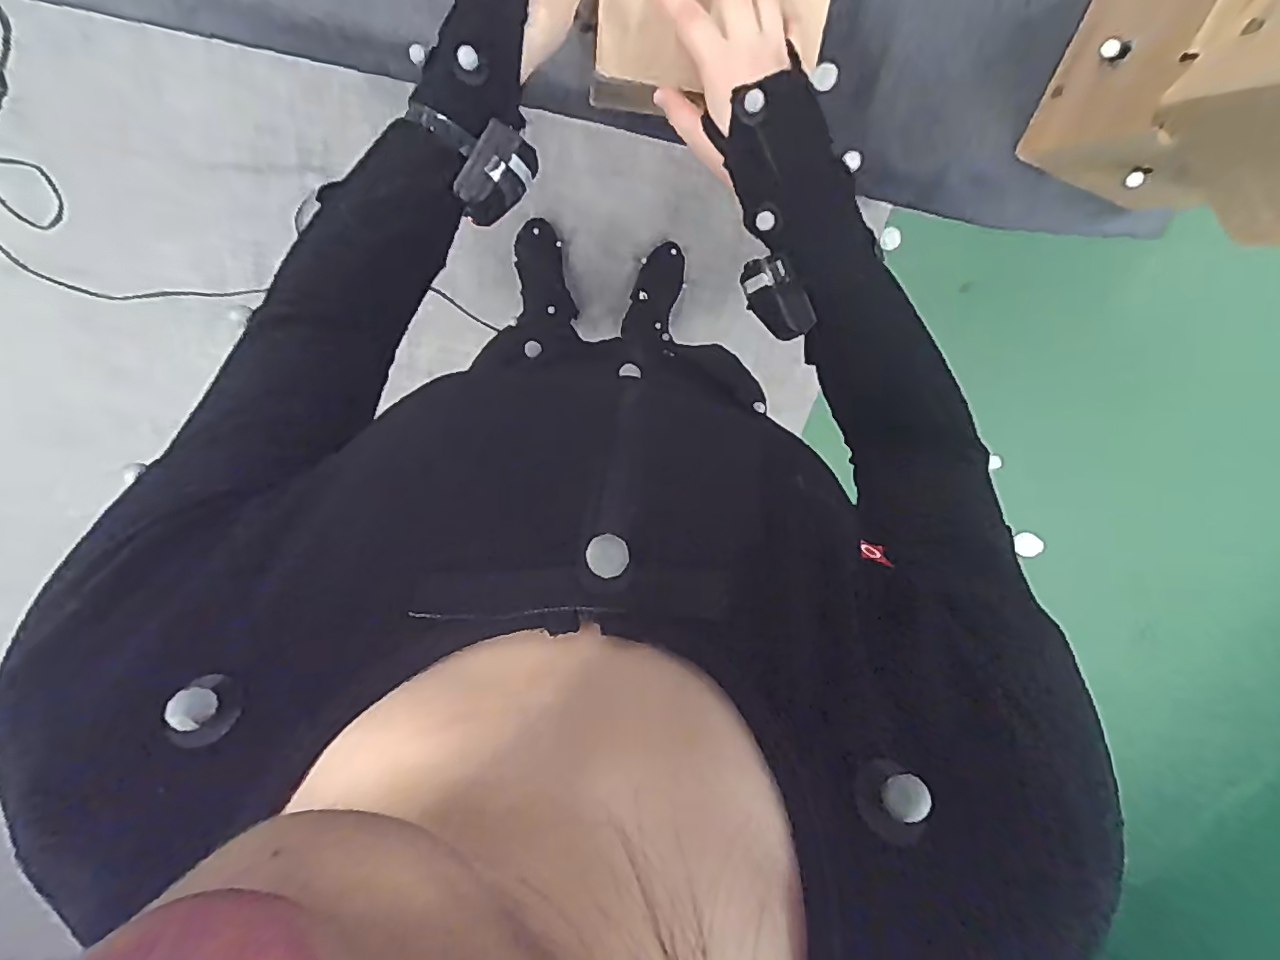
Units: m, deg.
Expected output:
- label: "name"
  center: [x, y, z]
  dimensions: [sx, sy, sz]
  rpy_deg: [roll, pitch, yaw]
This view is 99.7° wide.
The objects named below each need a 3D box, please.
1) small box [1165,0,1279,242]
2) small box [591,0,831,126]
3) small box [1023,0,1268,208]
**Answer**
- label: "small box"
  center: [0.549, -0.286, 0.386]
  dimensions: [0.179, 0.176, 0.168]
  rpy_deg: [34, 108, -21]
- label: "small box"
  center: [0.052, -0.410, 0.457]
  dimensions: [0.179, 0.176, 0.168]
  rpy_deg: [3, 120, -8]
- label: "small box"
  center: [0.533, -0.374, 0.524]
  dimensions: [0.179, 0.176, 0.168]
  rpy_deg: [14, 114, -12]
